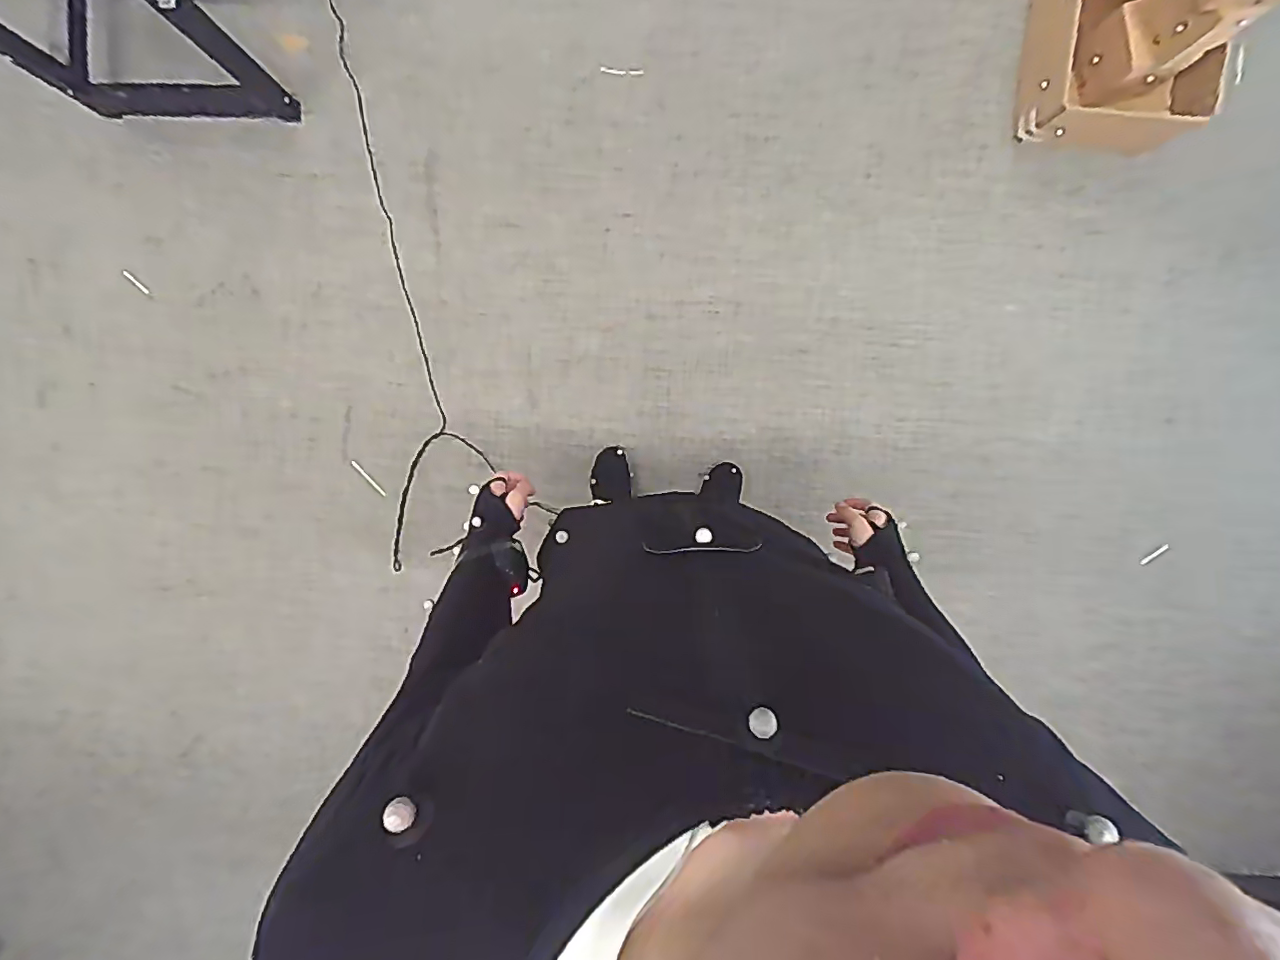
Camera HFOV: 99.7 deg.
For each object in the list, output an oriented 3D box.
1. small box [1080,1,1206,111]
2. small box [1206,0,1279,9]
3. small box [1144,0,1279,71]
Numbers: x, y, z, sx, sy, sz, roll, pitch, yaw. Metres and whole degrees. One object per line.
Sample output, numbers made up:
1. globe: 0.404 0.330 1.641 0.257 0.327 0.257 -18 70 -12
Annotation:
1. small box: 1.291 -1.100 1.405 0.179 0.176 0.168 -11 93 1
2. small box: 1.291 -1.089 1.079 0.168 0.176 0.179 -3 94 1
3. small box: 1.320 -1.096 1.241 0.179 0.176 0.168 -22 93 2
